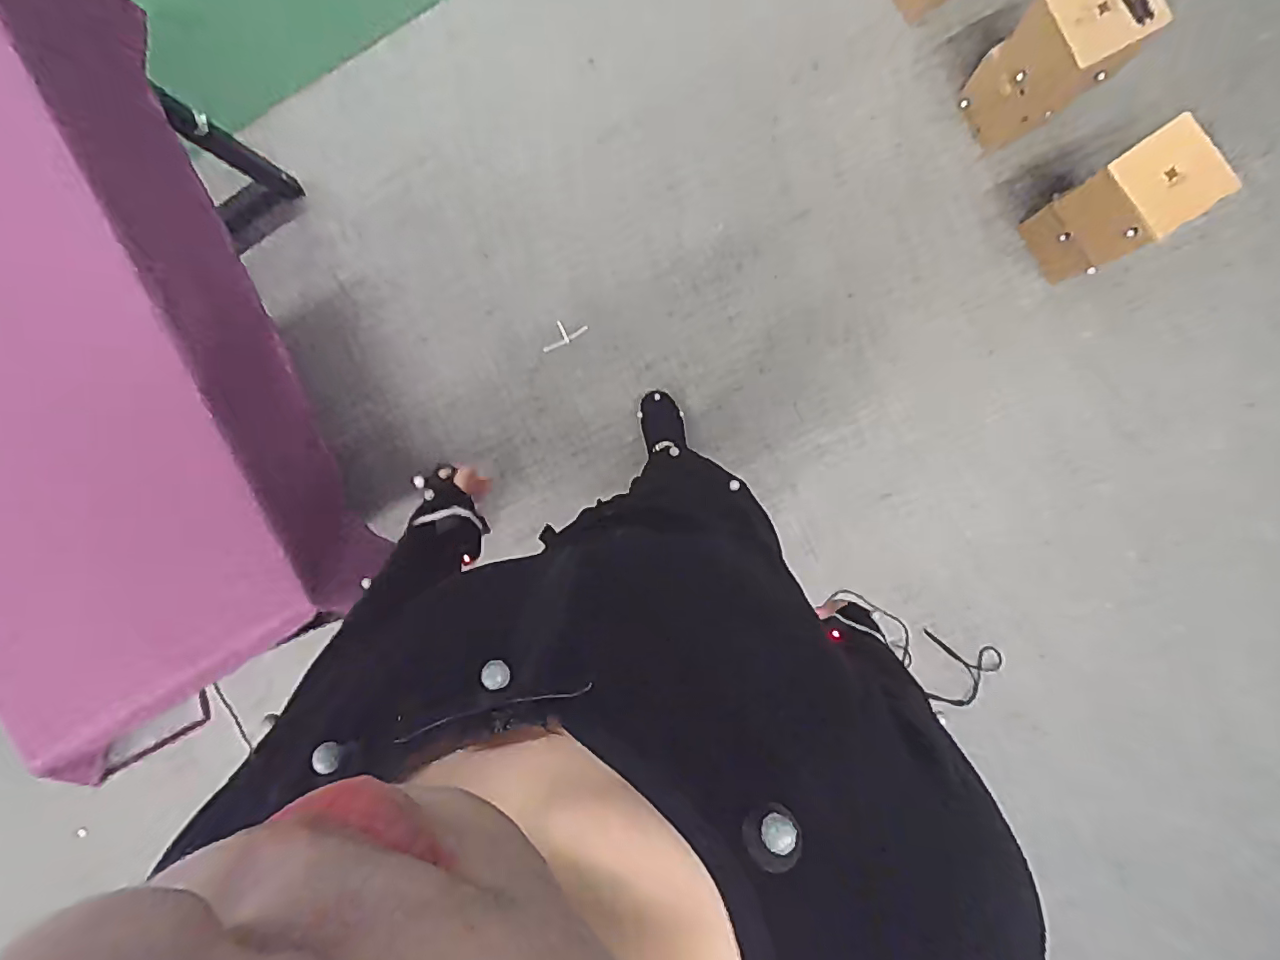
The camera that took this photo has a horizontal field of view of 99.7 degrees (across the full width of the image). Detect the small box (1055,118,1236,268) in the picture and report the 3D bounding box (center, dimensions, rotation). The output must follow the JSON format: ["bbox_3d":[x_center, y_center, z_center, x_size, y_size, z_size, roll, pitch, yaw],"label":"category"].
[{"bbox_3d":[1.000,-0.564,1.091,0.168,0.176,0.179,-34,89,8],"label":"small box"}]

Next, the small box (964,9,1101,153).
[{"bbox_3d":[0.888,-0.906,1.250,0.179,0.176,0.168,-26,90,7],"label":"small box"}]

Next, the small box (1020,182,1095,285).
[{"bbox_3d":[1.033,-0.583,1.249,0.168,0.176,0.179,-29,90,9],"label":"small box"}]

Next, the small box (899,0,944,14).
[{"bbox_3d":[0.696,-1.244,1.256,0.168,0.176,0.179,-27,90,7],"label":"small box"}]
